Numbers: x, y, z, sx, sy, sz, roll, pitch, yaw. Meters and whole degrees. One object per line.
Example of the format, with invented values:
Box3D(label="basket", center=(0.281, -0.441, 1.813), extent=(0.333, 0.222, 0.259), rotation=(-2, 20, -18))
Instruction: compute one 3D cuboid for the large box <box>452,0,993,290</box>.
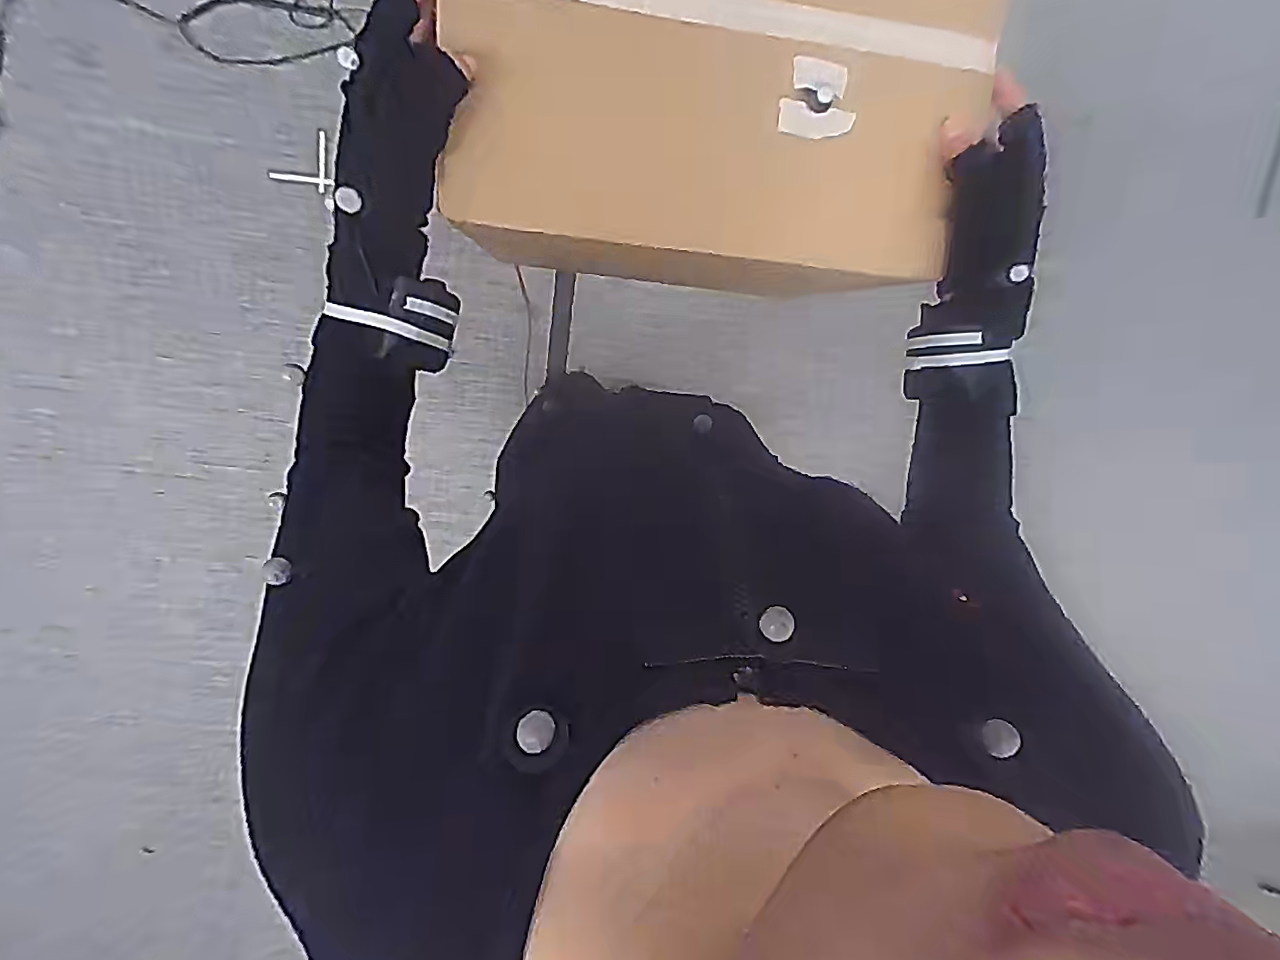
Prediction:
Box3D(label="large box", center=(0.046, -0.374, 0.534), extent=(0.408, 0.320, 0.320), rotation=(3, 106, -9))
